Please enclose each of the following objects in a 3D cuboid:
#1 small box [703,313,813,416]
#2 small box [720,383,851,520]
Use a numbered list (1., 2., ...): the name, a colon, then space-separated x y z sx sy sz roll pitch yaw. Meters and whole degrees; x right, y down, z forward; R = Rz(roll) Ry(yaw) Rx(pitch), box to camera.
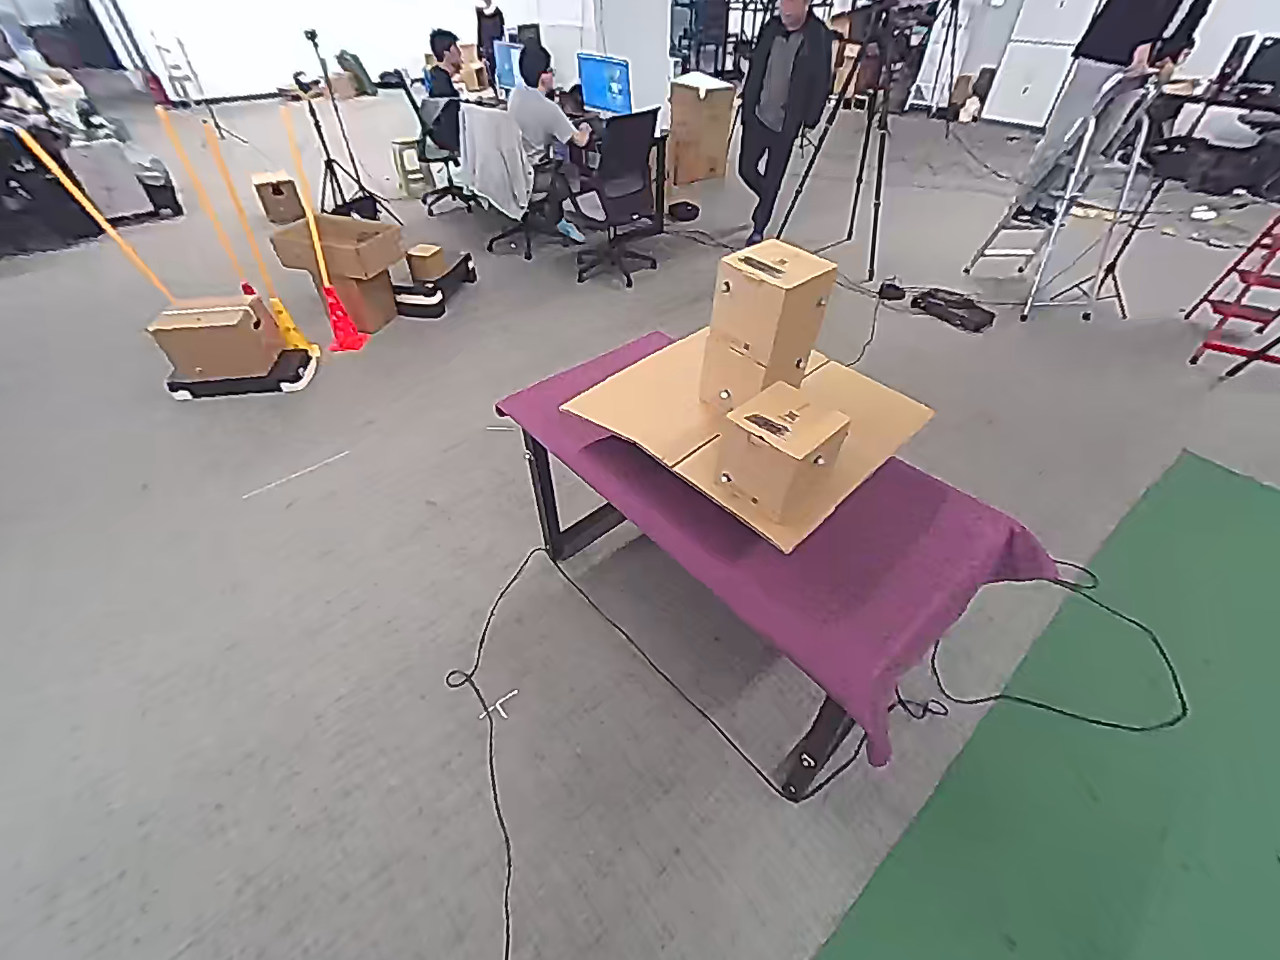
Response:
1. small box: 0.260 -0.249 1.234 0.179 0.176 0.168 -33 55 -29
2. small box: 0.269 -0.054 1.042 0.179 0.176 0.168 -33 55 -31
